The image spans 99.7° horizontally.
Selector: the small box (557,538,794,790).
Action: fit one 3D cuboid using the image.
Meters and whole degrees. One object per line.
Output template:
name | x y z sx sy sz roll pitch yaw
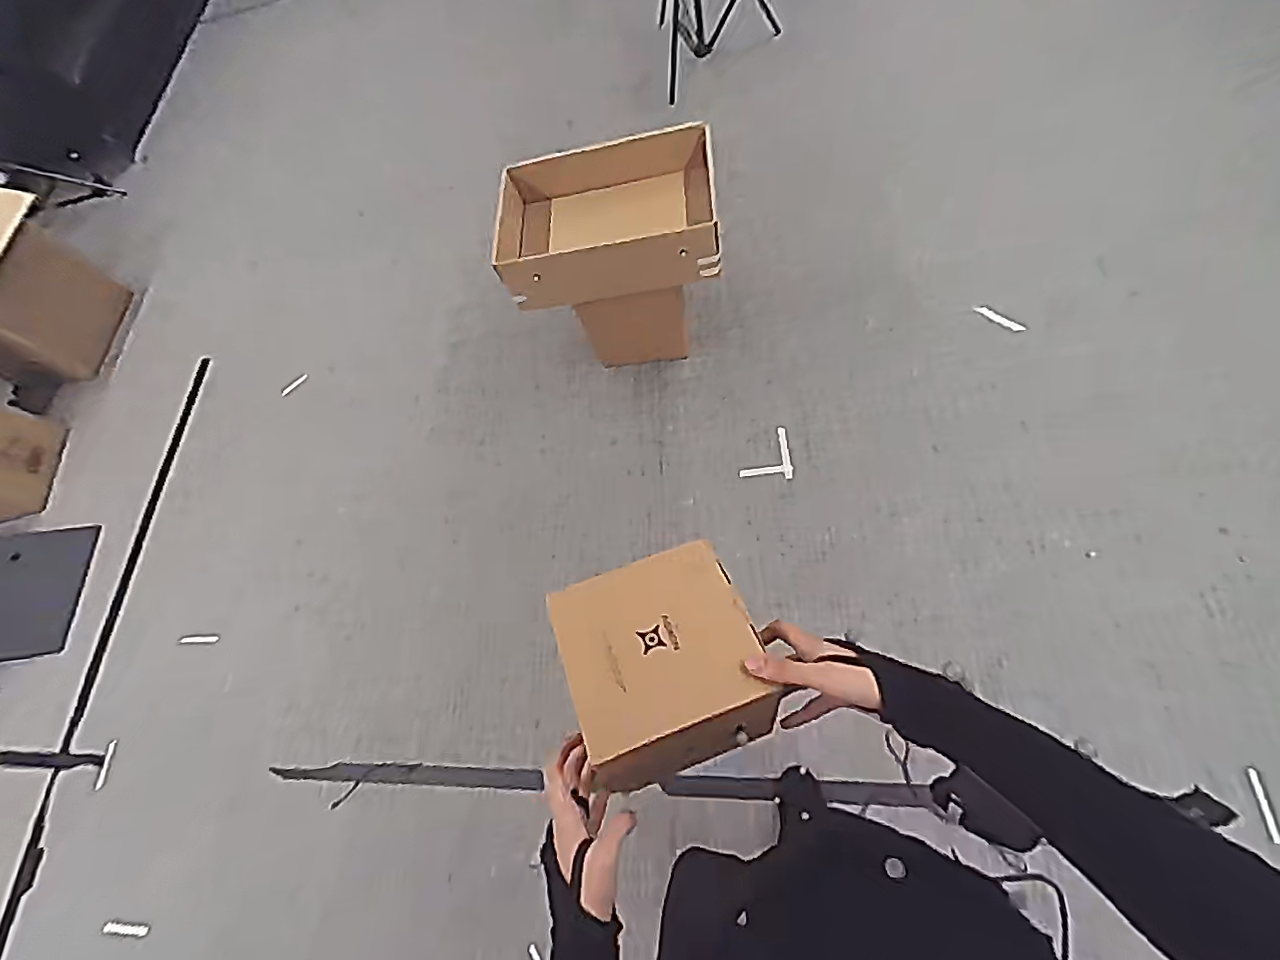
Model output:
small box | 0.033 0.192 0.556 0.179 0.176 0.168 -20 52 -6
